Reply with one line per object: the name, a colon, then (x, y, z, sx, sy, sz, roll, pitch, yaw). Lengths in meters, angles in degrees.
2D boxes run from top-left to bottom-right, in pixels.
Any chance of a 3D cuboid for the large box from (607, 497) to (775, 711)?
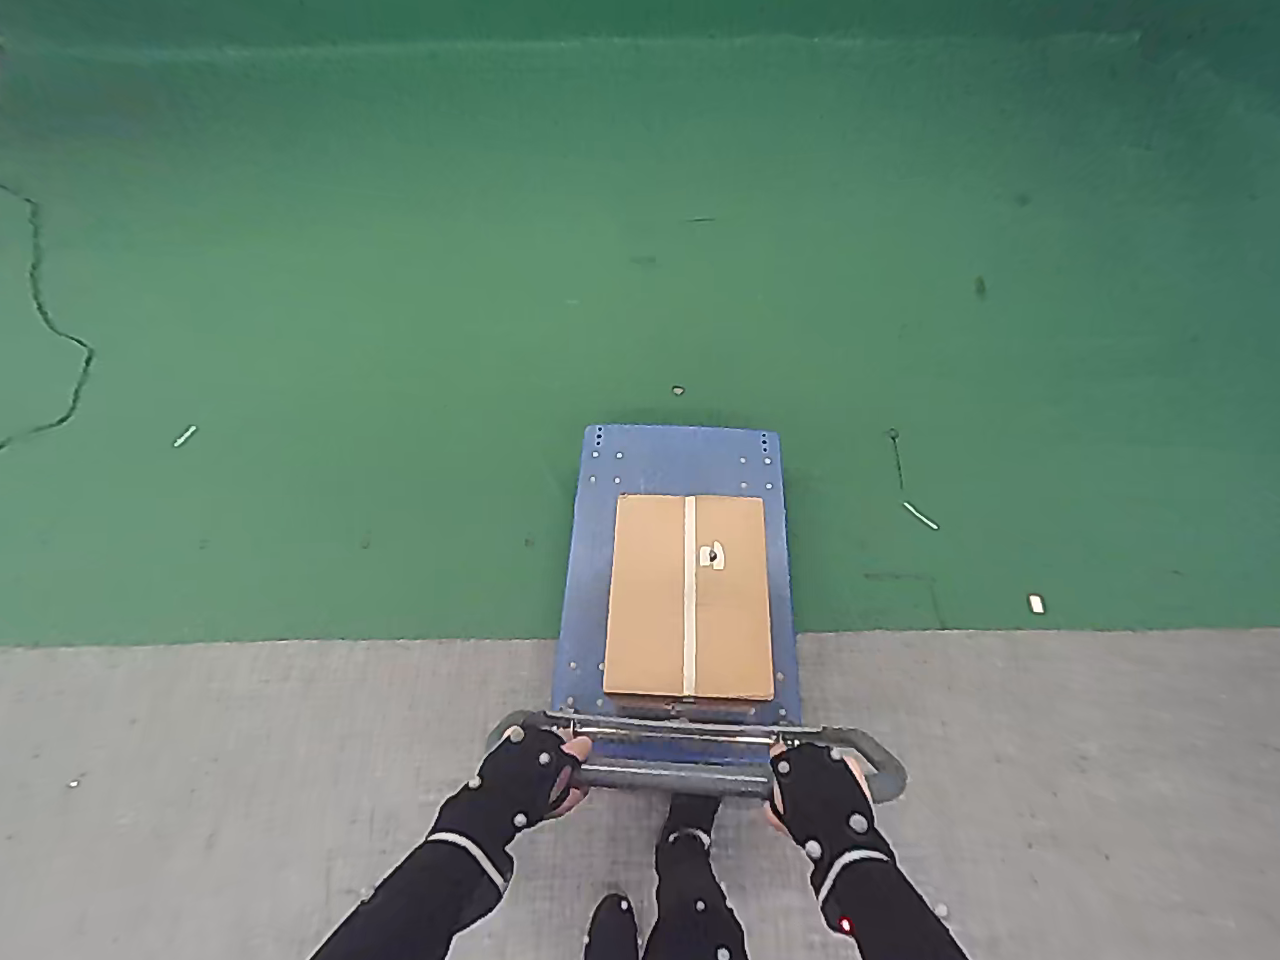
large box: (0.106, 0.285, 1.204, 0.320, 0.320, 0.408, 2, 62, 3)
